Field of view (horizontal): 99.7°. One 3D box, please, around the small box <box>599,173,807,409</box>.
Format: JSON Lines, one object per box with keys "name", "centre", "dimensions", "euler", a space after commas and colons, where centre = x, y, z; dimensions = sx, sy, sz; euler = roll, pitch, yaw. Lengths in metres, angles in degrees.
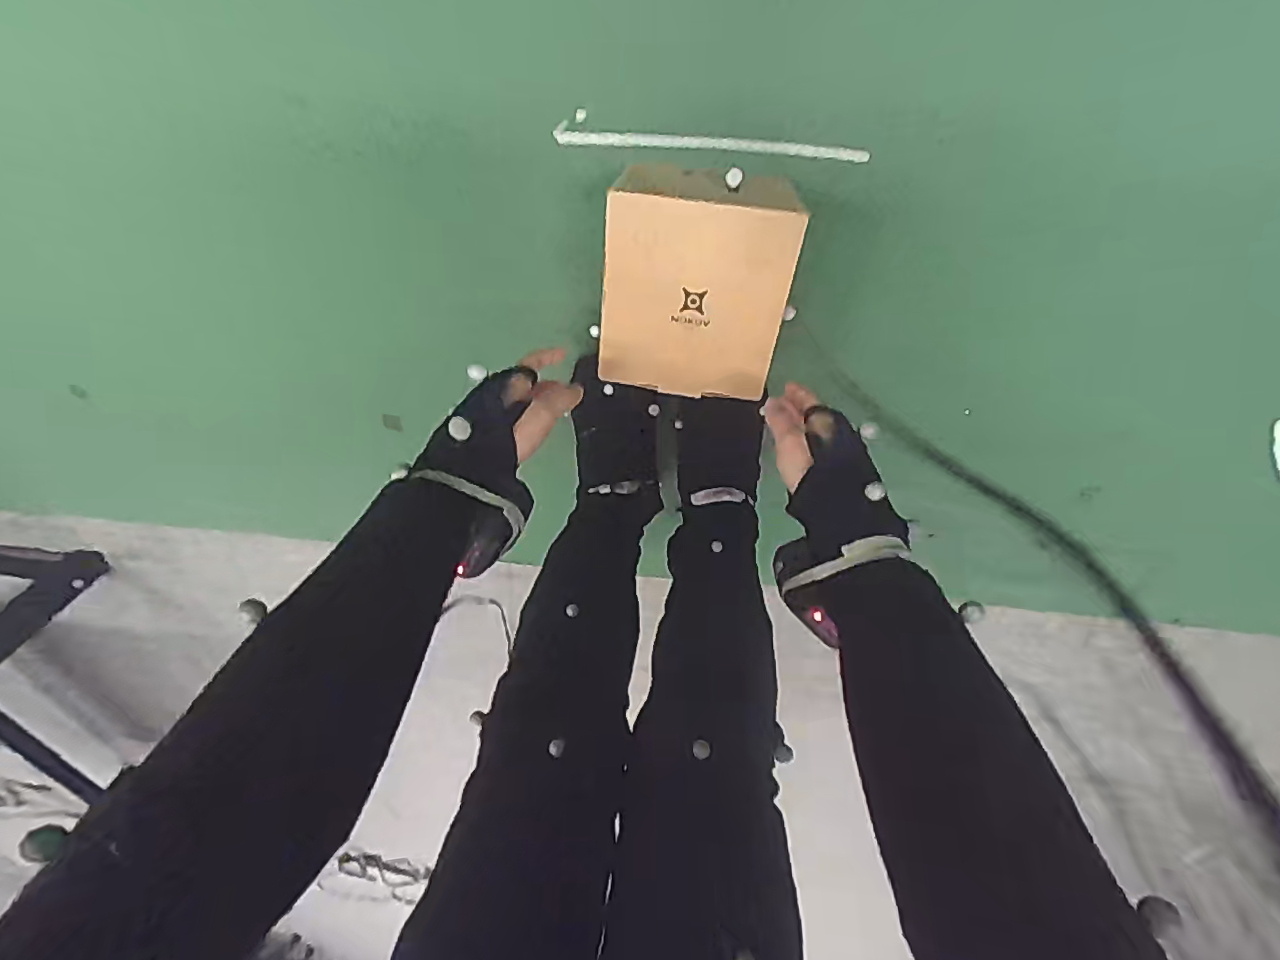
{"name": "small box", "centre": [0.054, -0.198, 0.551], "dimensions": [0.168, 0.176, 0.179], "euler": [8, 129, 1]}
